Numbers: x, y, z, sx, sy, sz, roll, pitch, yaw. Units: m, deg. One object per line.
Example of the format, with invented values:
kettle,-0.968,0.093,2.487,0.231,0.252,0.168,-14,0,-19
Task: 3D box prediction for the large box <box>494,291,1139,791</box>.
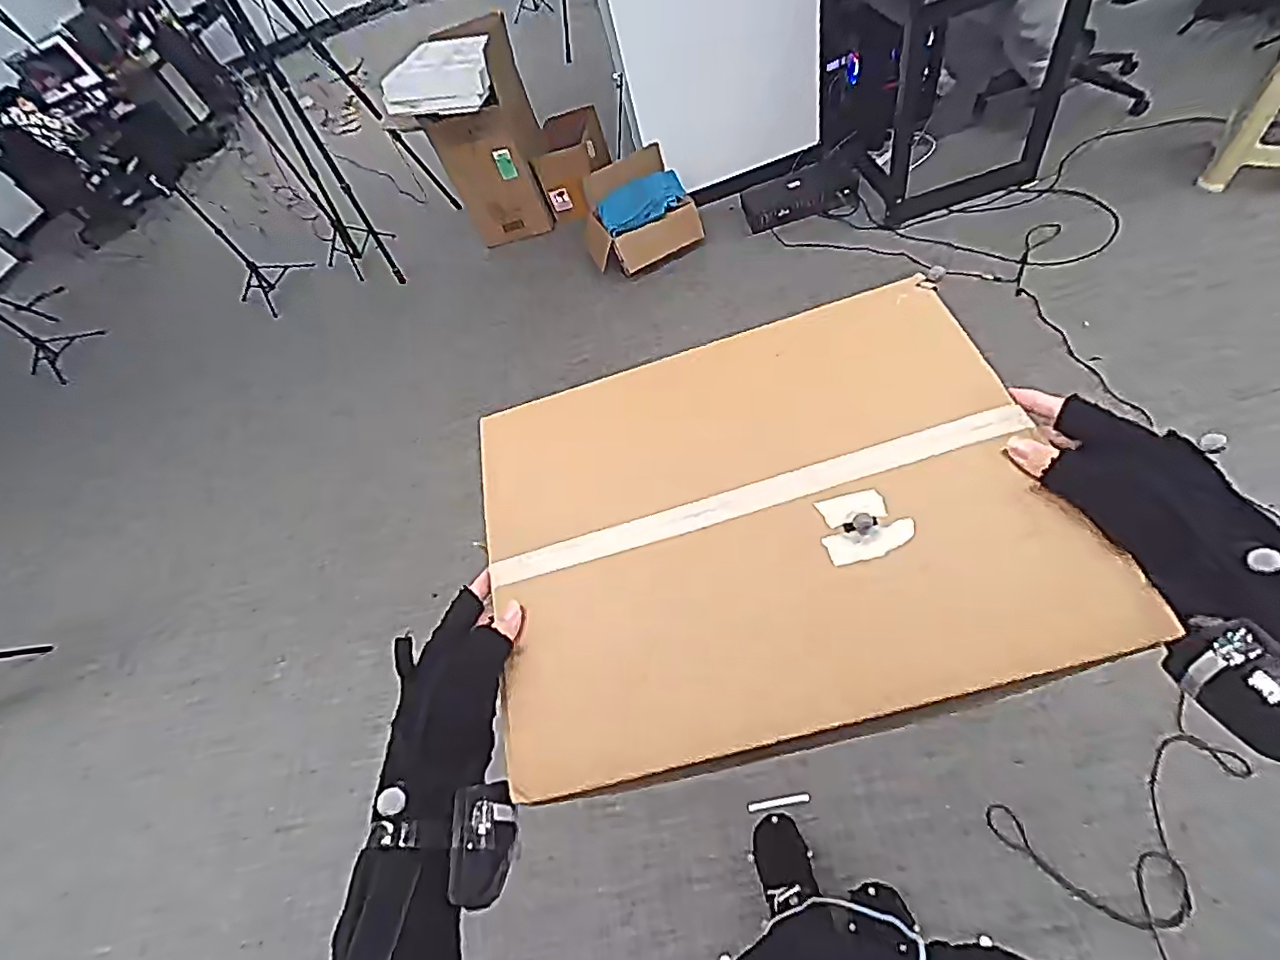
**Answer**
large box,0.114,0.088,0.543,0.408,0.320,0.320,-17,60,5
